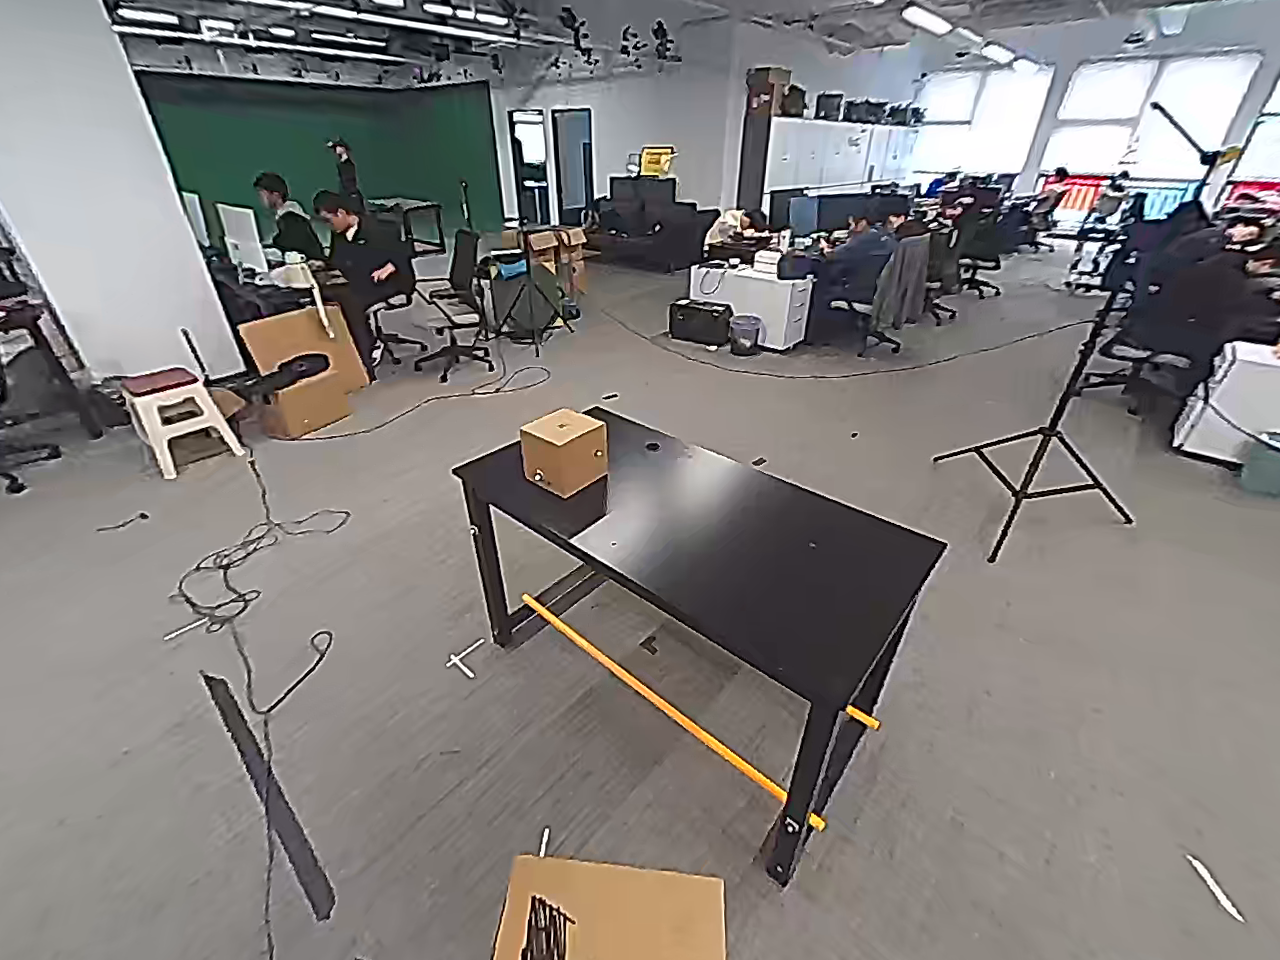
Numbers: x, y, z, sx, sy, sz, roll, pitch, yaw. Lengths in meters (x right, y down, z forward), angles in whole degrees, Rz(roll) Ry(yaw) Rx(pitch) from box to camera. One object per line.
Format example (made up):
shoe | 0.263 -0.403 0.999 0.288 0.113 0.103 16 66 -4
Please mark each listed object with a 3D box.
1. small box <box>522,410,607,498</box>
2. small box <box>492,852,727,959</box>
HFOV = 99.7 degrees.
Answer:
small box | -0.208 -0.076 1.527 0.168 0.176 0.179 22 39 32
small box | -0.026 0.429 0.429 0.179 0.176 0.168 5 37 2
